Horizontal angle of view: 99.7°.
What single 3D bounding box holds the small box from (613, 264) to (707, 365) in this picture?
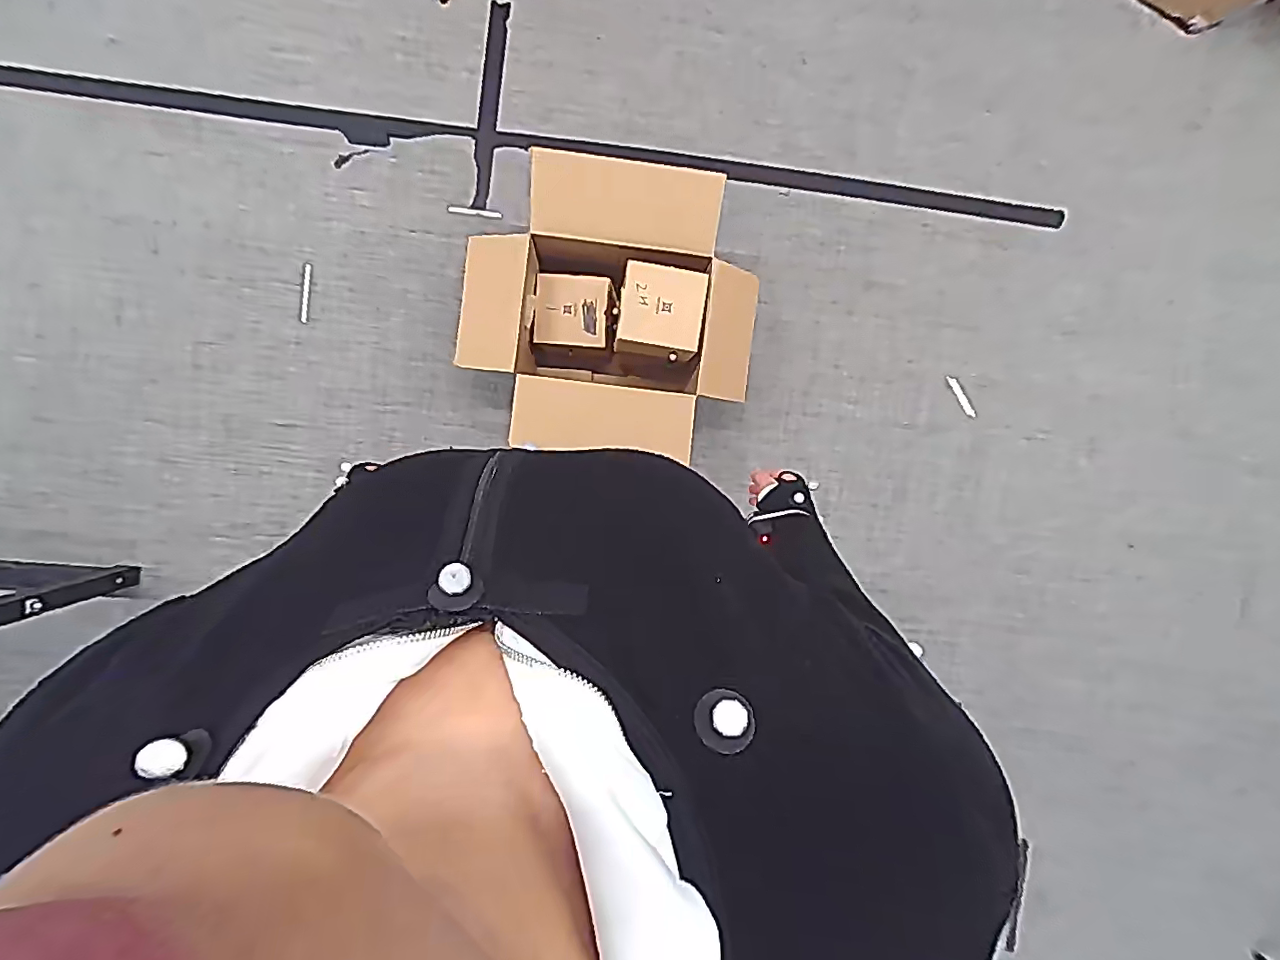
[{"bbox_3d":[0.039,-0.362,1.215,0.179,0.176,0.168,9,92,-4],"label":"small box"}]
